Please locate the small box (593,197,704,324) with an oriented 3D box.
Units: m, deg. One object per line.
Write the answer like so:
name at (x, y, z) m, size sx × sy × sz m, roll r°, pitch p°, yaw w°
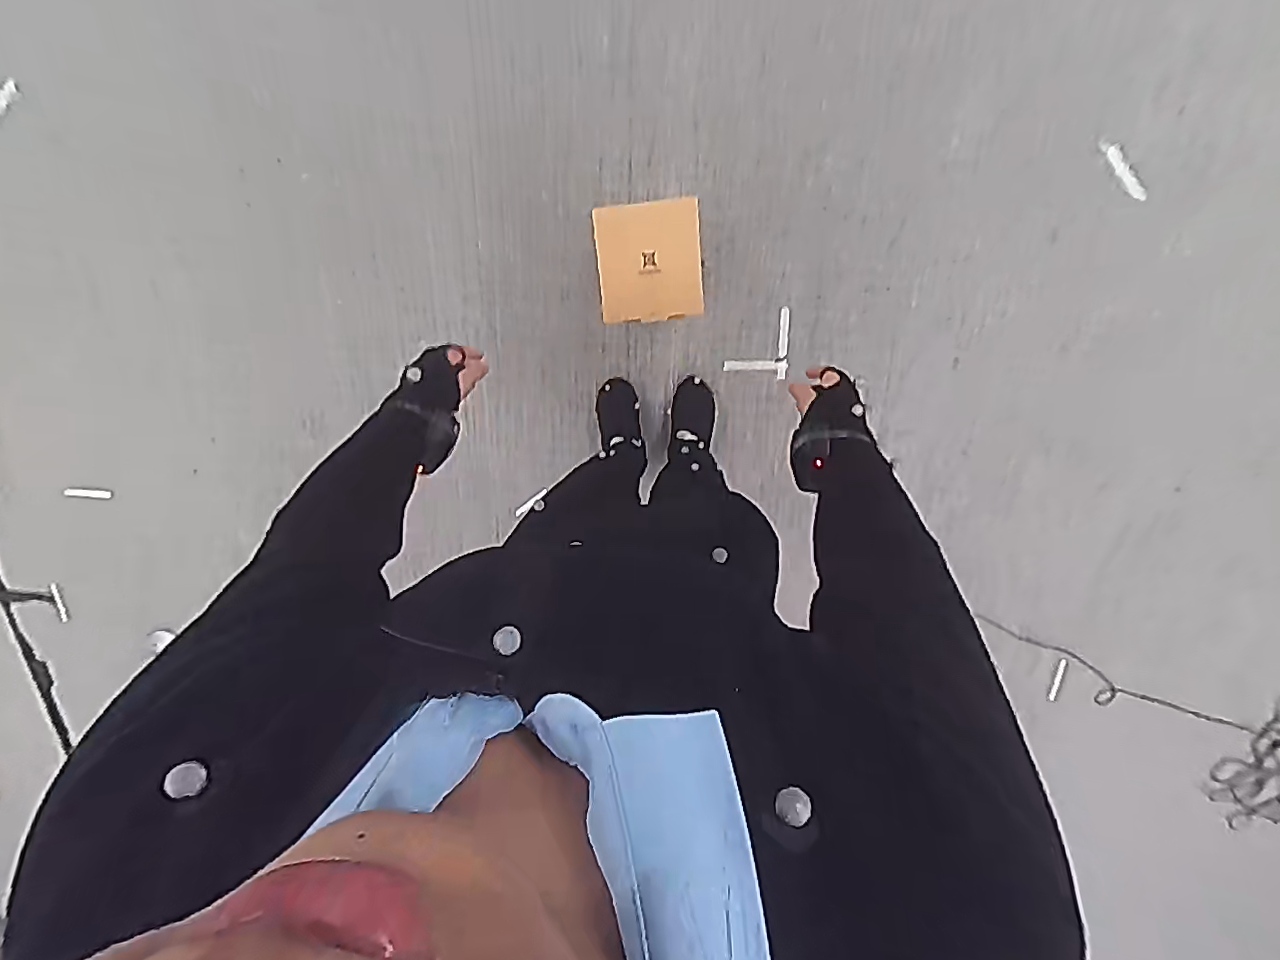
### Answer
small box at (0.019, -0.367, 0.928) m, size 0.168 × 0.176 × 0.179 m, roll -5°, pitch 108°, yaw 6°
